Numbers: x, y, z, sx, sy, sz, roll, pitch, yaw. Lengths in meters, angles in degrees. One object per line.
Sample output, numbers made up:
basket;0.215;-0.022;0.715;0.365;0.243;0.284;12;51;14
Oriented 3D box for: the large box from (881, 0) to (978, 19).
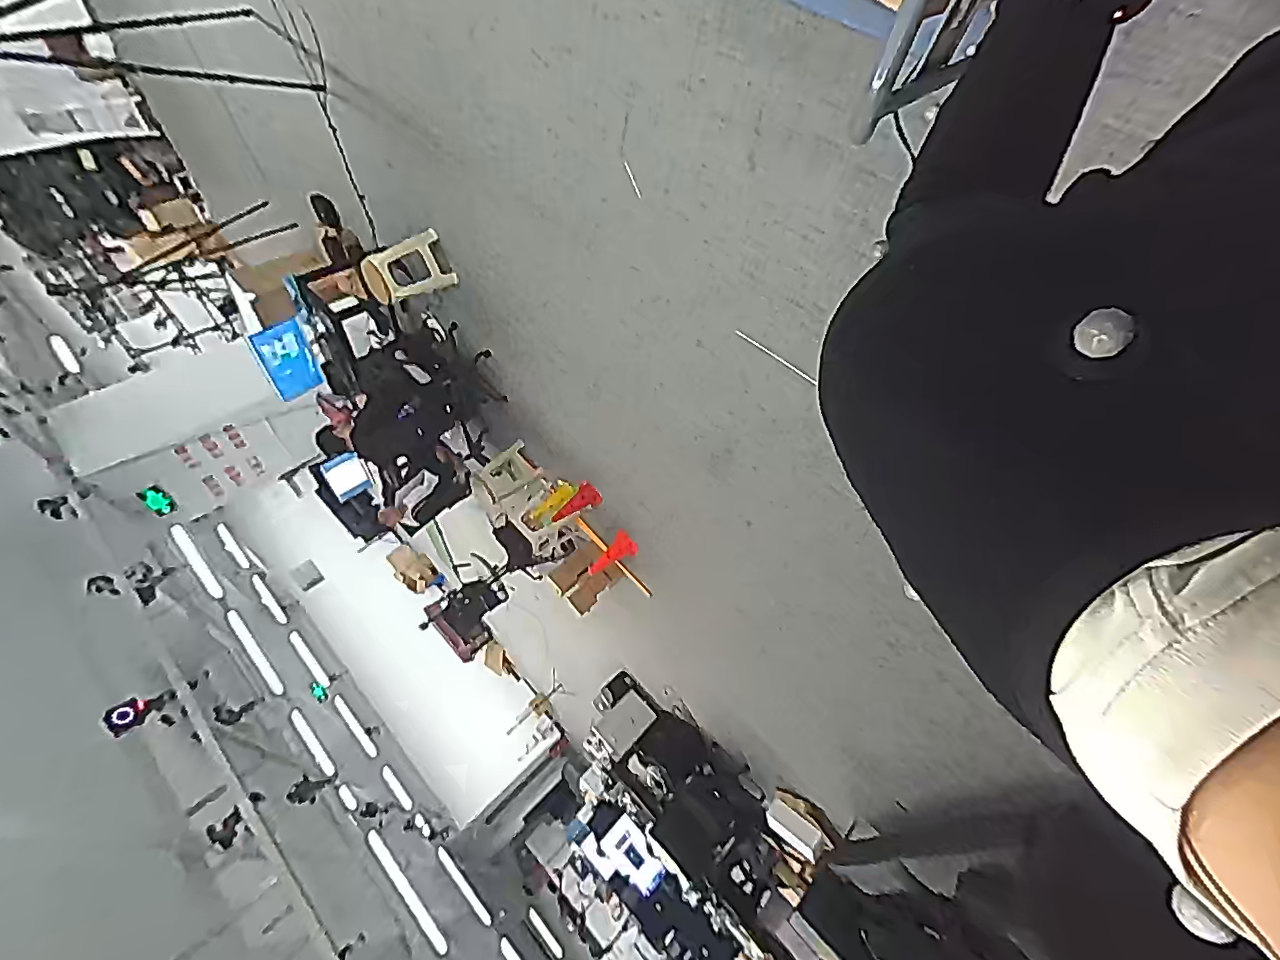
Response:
large box;0.446;-1.018;0.852;0.408;0.320;0.320;45;150;15
